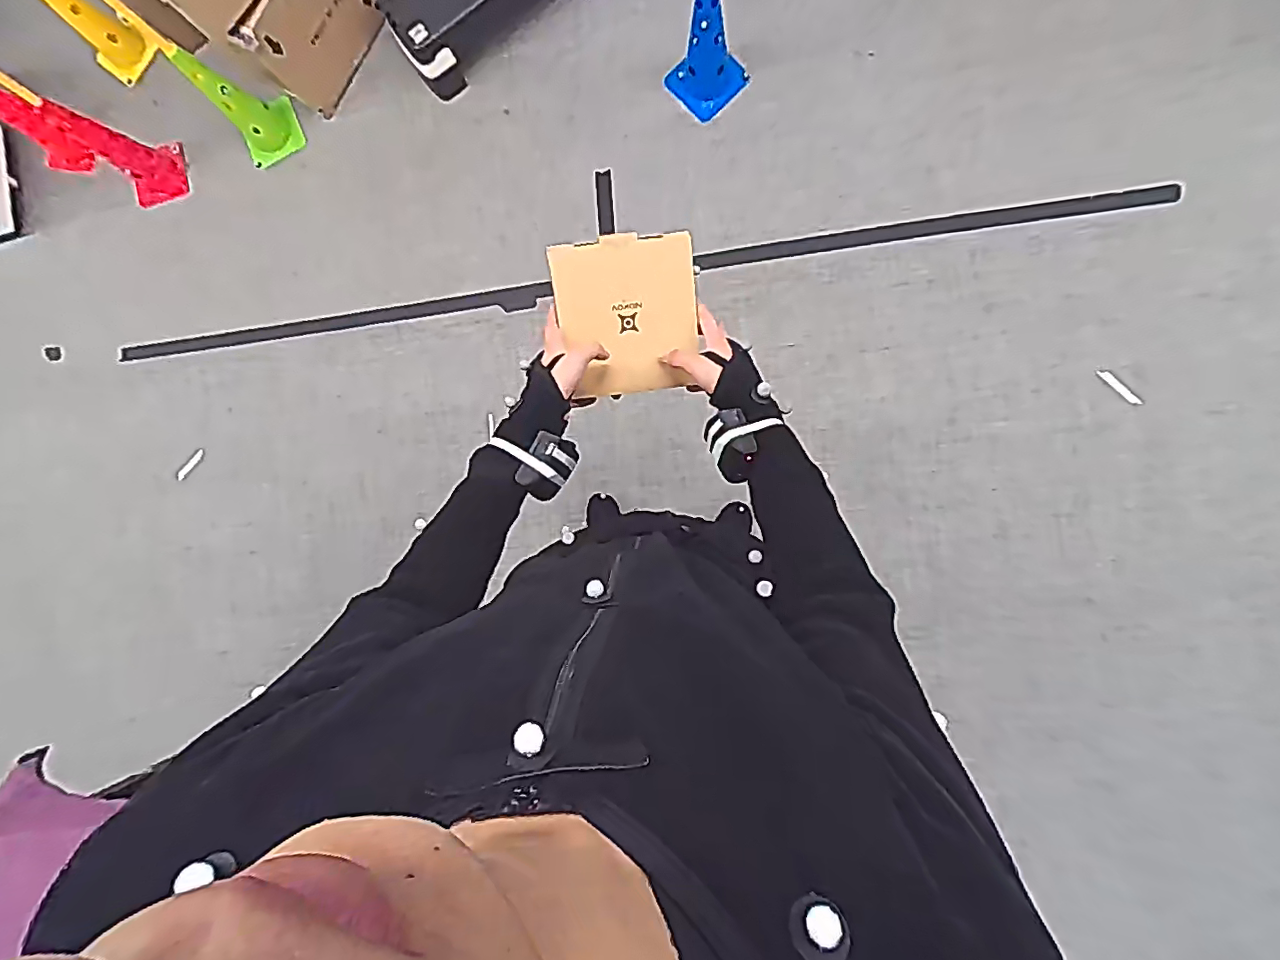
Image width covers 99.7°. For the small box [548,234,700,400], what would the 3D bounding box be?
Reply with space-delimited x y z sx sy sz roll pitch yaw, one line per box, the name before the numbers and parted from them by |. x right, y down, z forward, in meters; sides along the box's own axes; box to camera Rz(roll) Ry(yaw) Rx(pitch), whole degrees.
small box | -0.021 -0.208 0.706 0.168 0.176 0.179 -7 105 -3
